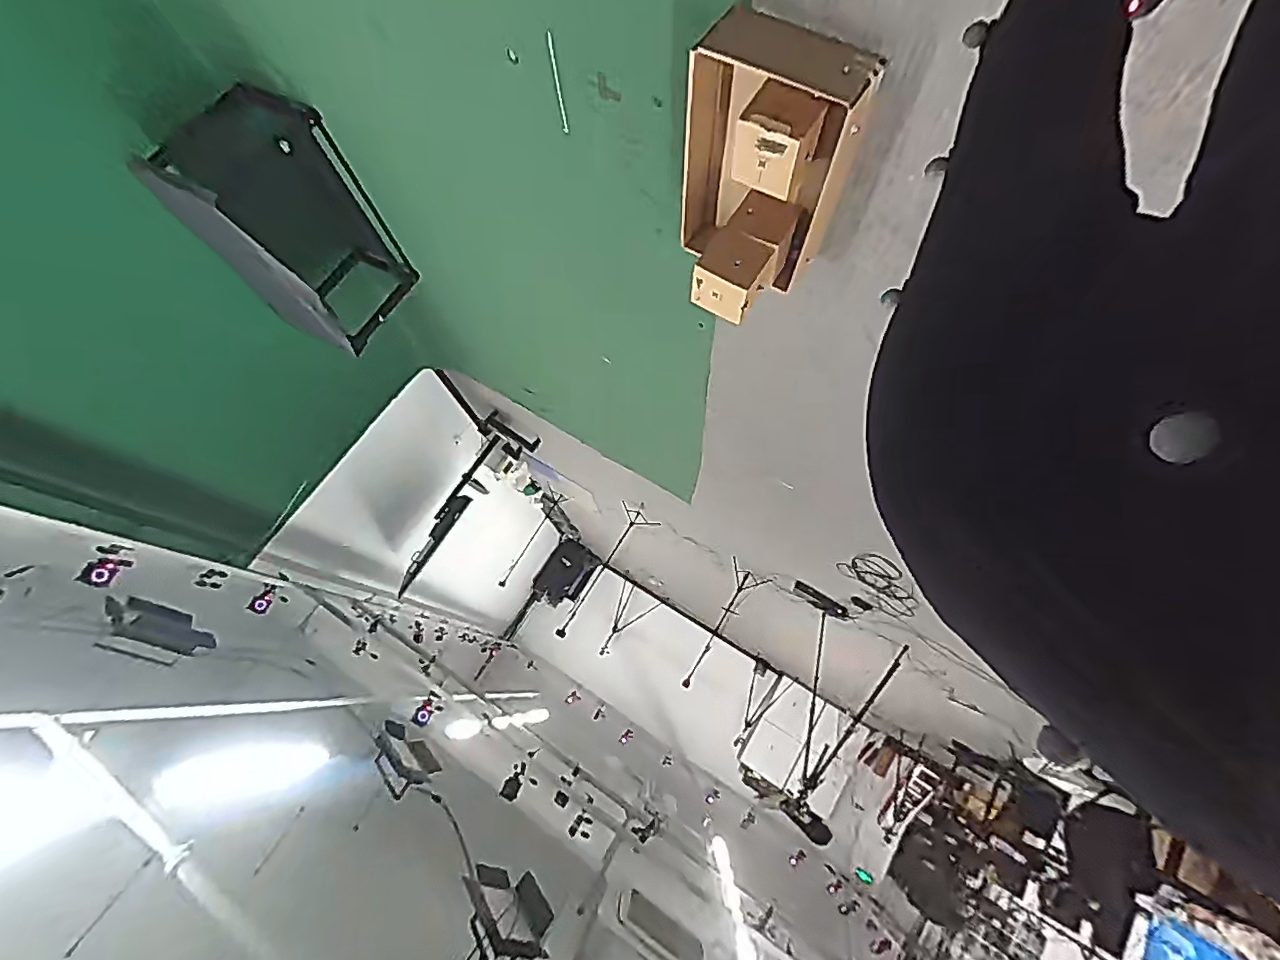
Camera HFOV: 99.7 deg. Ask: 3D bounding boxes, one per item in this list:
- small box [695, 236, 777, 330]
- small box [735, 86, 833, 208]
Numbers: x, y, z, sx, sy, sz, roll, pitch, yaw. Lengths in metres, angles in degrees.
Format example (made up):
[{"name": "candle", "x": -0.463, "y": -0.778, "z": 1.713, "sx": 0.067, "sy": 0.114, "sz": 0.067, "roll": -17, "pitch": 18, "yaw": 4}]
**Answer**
[{"name": "small box", "x": 0.285, "y": -0.587, "z": 1.608, "sx": 0.179, "sy": 0.176, "sz": 0.168, "roll": 30, "pitch": 163, "yaw": 10}, {"name": "small box", "x": 0.358, "y": -0.832, "z": 1.350, "sx": 0.168, "sy": 0.176, "sz": 0.179, "roll": 30, "pitch": 165, "yaw": 13}]
